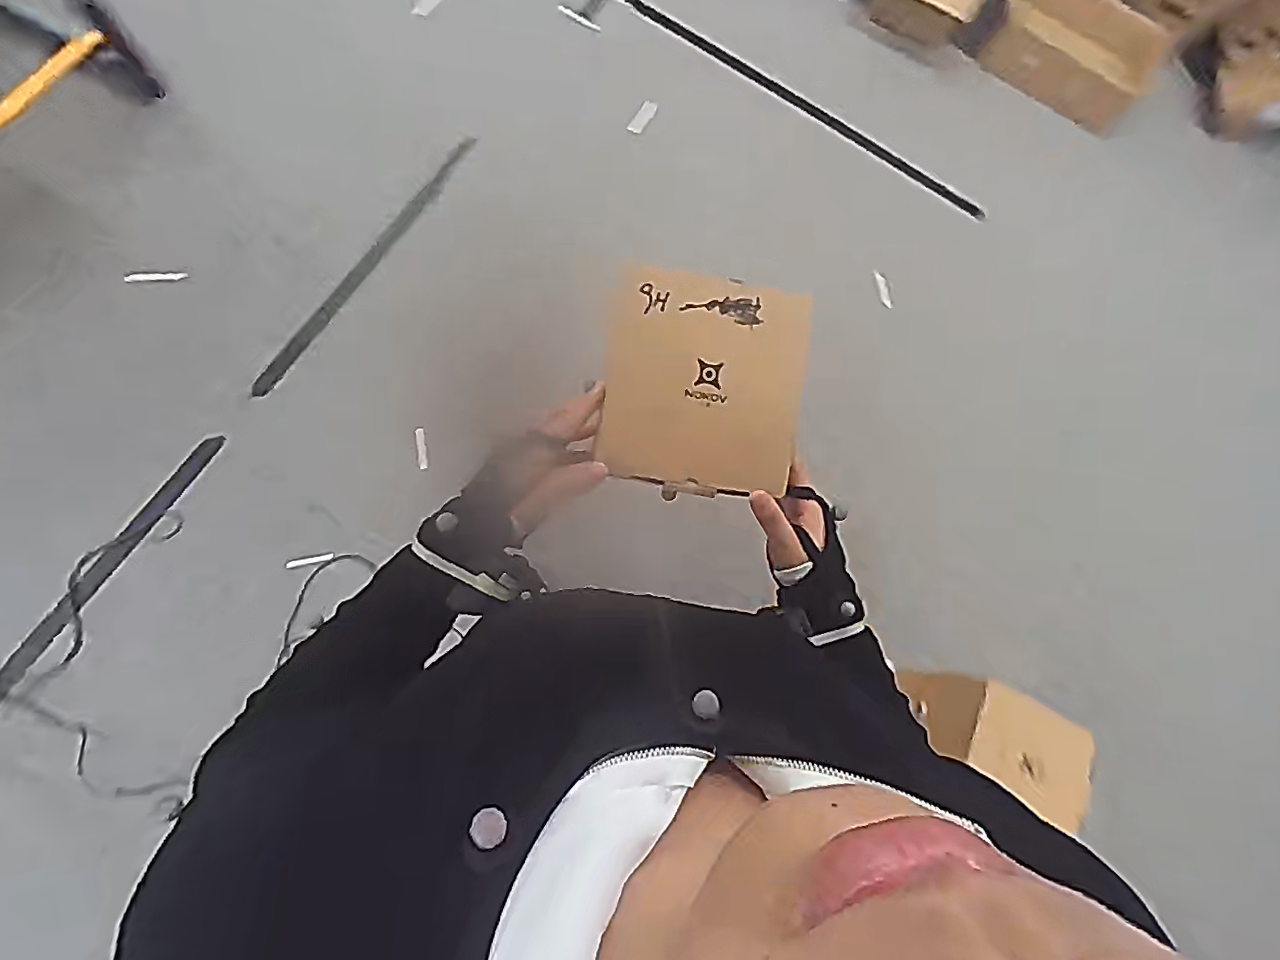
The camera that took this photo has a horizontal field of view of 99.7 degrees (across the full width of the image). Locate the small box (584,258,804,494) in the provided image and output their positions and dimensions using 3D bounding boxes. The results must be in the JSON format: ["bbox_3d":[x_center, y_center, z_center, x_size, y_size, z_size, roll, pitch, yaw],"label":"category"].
[{"bbox_3d":[0.038,-0.088,0.527,0.168,0.176,0.179,7,91,-7],"label":"small box"}]

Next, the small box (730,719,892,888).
[{"bbox_3d":[0.278,0.527,0.911,0.179,0.176,0.168,28,74,1],"label":"small box"}]

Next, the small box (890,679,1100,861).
[{"bbox_3d":[0.516,0.411,0.804,0.179,0.176,0.168,29,72,1],"label":"small box"}]

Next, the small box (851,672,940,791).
[{"bbox_3d":[0.515,0.458,0.961,0.179,0.176,0.168,29,73,1],"label":"small box"}]
